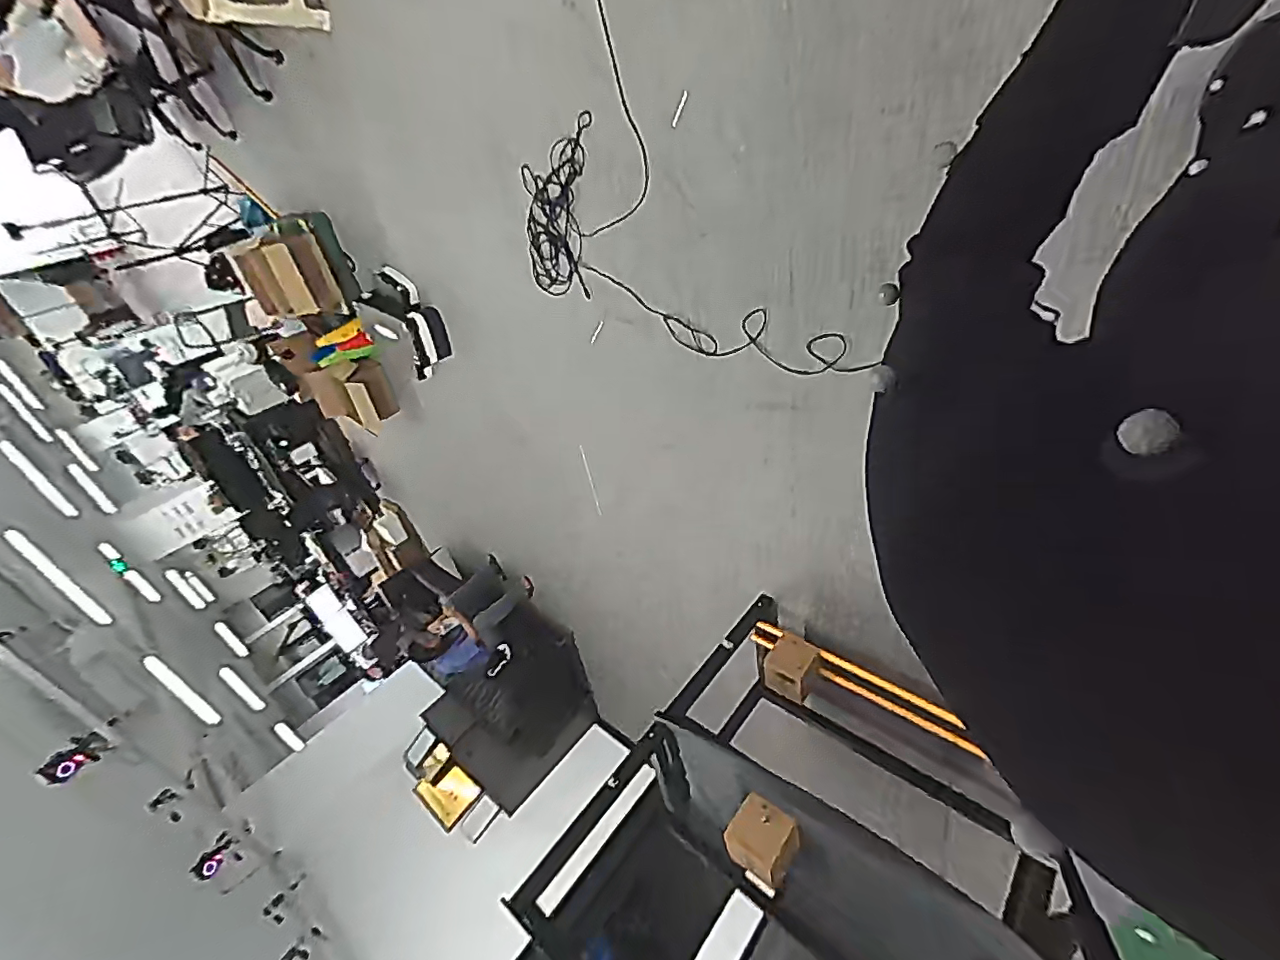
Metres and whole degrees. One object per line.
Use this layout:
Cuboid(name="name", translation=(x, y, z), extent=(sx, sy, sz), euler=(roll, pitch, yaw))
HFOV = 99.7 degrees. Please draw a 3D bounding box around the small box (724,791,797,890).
Cuboid(name="small box", translation=(0.393, 1.151, 1.737), extent=(0.168, 0.176, 0.179), euler=(17, 134, 39))
